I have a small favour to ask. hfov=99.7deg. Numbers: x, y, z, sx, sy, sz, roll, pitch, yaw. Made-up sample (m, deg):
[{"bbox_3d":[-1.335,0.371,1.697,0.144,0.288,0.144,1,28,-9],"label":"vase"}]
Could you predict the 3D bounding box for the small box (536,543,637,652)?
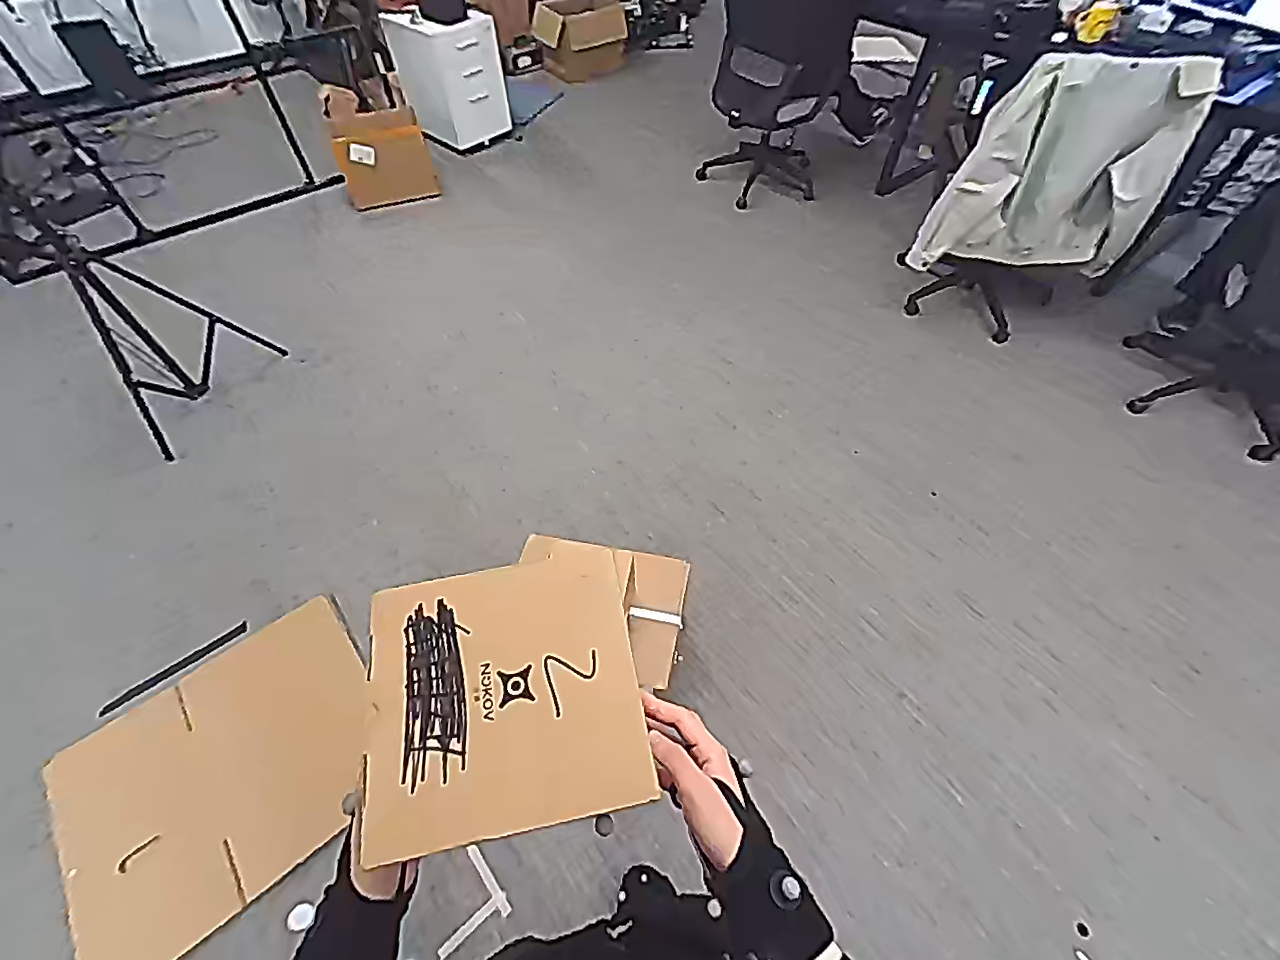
[{"bbox_3d":[-0.105,0.254,1.153,0.179,0.176,0.168,7,56,6],"label":"small box"}]
